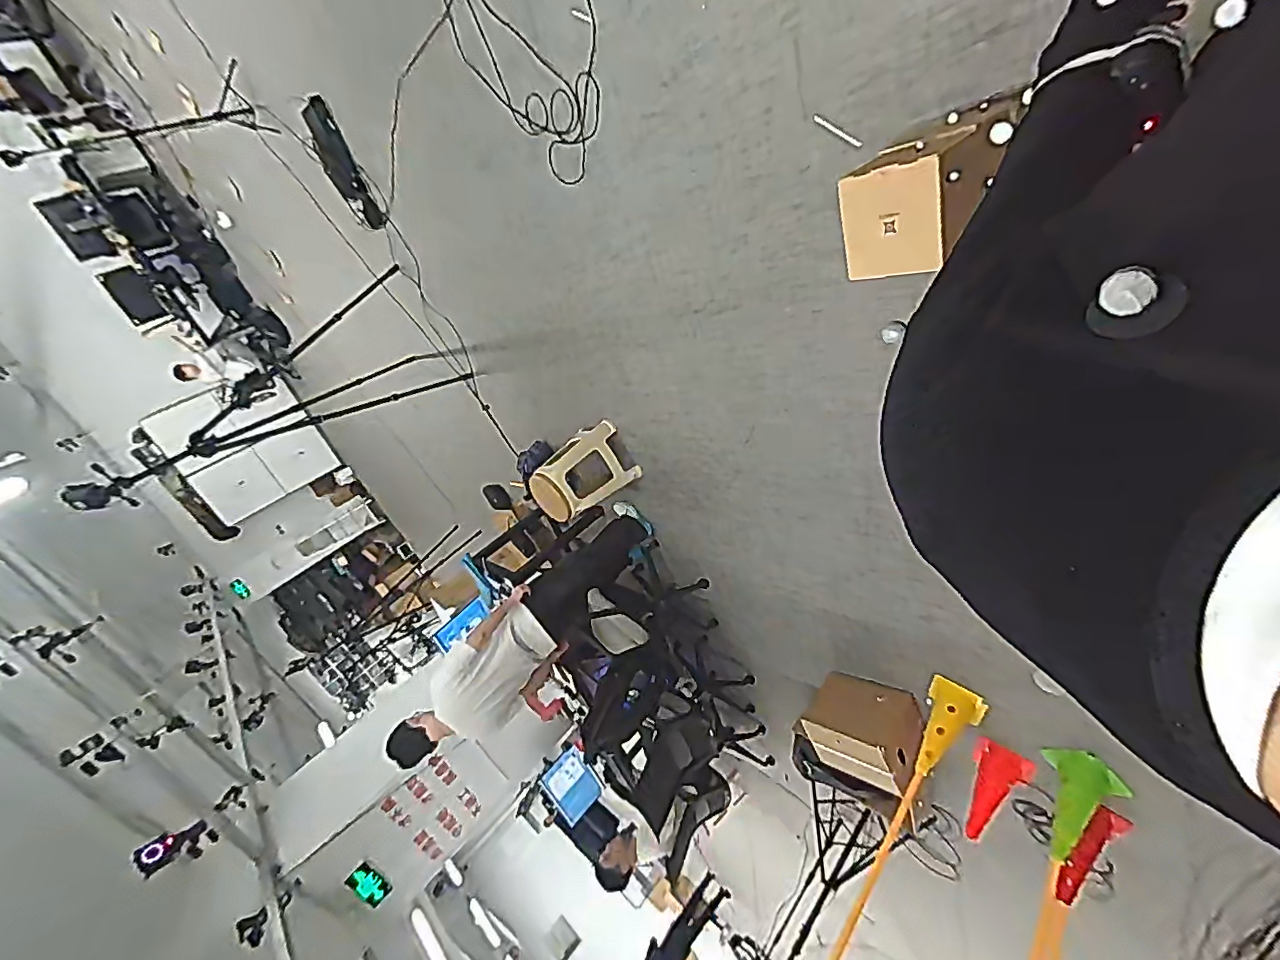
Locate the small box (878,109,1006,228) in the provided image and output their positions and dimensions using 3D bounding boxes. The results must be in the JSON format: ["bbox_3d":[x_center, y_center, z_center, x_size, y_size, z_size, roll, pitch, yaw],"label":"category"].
[{"bbox_3d":[0.578,-0.571,1.030,0.168,0.176,0.179,13,133,46],"label":"small box"}]

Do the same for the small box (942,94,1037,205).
[{"bbox_3d":[0.692,-0.659,1.109,0.179,0.176,0.168,12,132,46],"label":"small box"}]

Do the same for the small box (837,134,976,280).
[{"bbox_3d":[0.473,-0.474,0.951,0.168,0.176,0.179,13,132,46],"label":"small box"}]
